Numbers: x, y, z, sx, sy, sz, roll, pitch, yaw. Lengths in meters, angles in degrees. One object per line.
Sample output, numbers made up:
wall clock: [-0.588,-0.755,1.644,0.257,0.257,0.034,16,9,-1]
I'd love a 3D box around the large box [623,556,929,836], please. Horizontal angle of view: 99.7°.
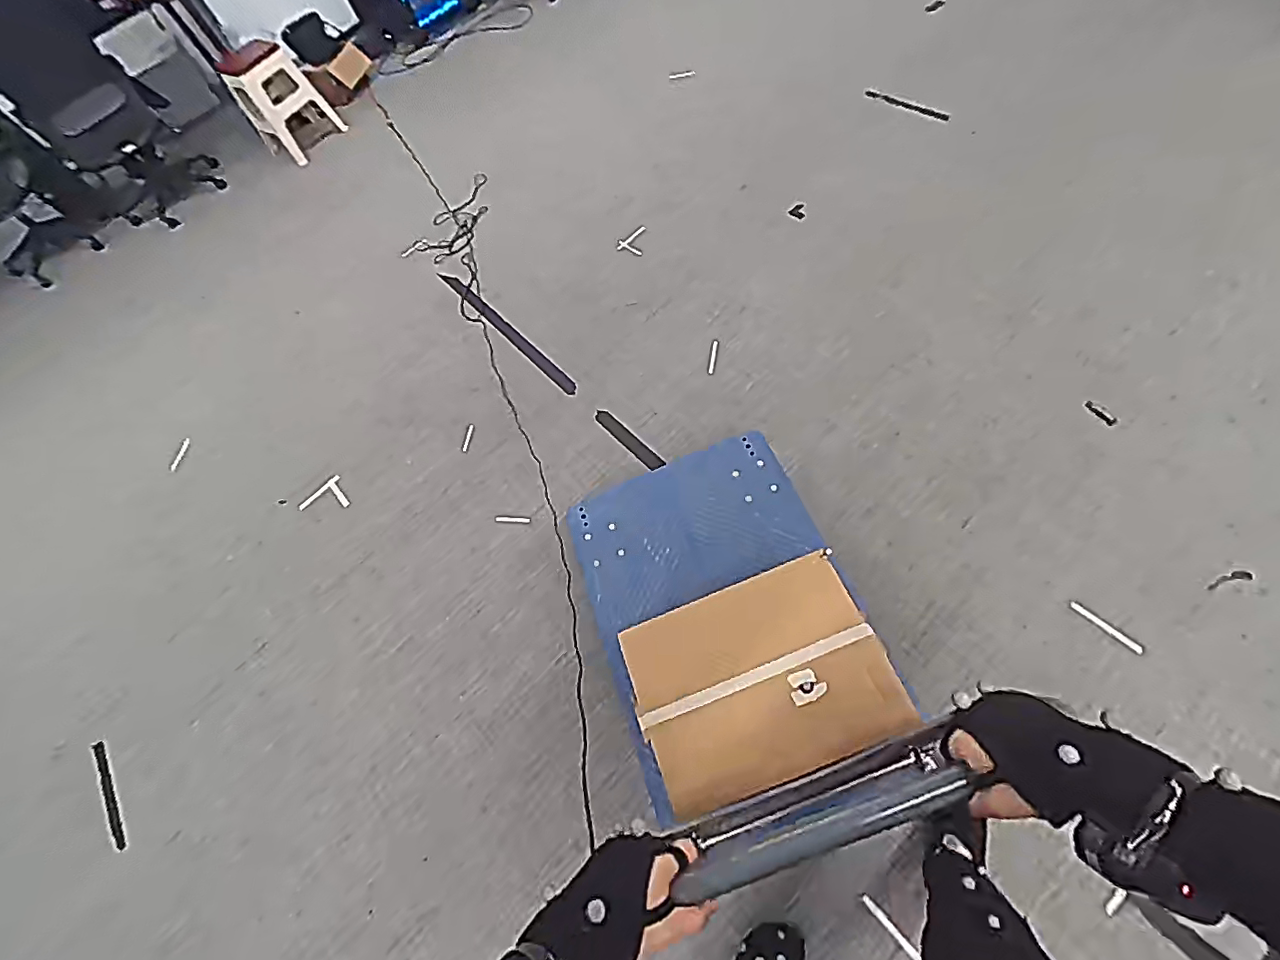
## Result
large box: [0.229,0.403,1.000,0.408,0.320,0.320,-23,59,0]
